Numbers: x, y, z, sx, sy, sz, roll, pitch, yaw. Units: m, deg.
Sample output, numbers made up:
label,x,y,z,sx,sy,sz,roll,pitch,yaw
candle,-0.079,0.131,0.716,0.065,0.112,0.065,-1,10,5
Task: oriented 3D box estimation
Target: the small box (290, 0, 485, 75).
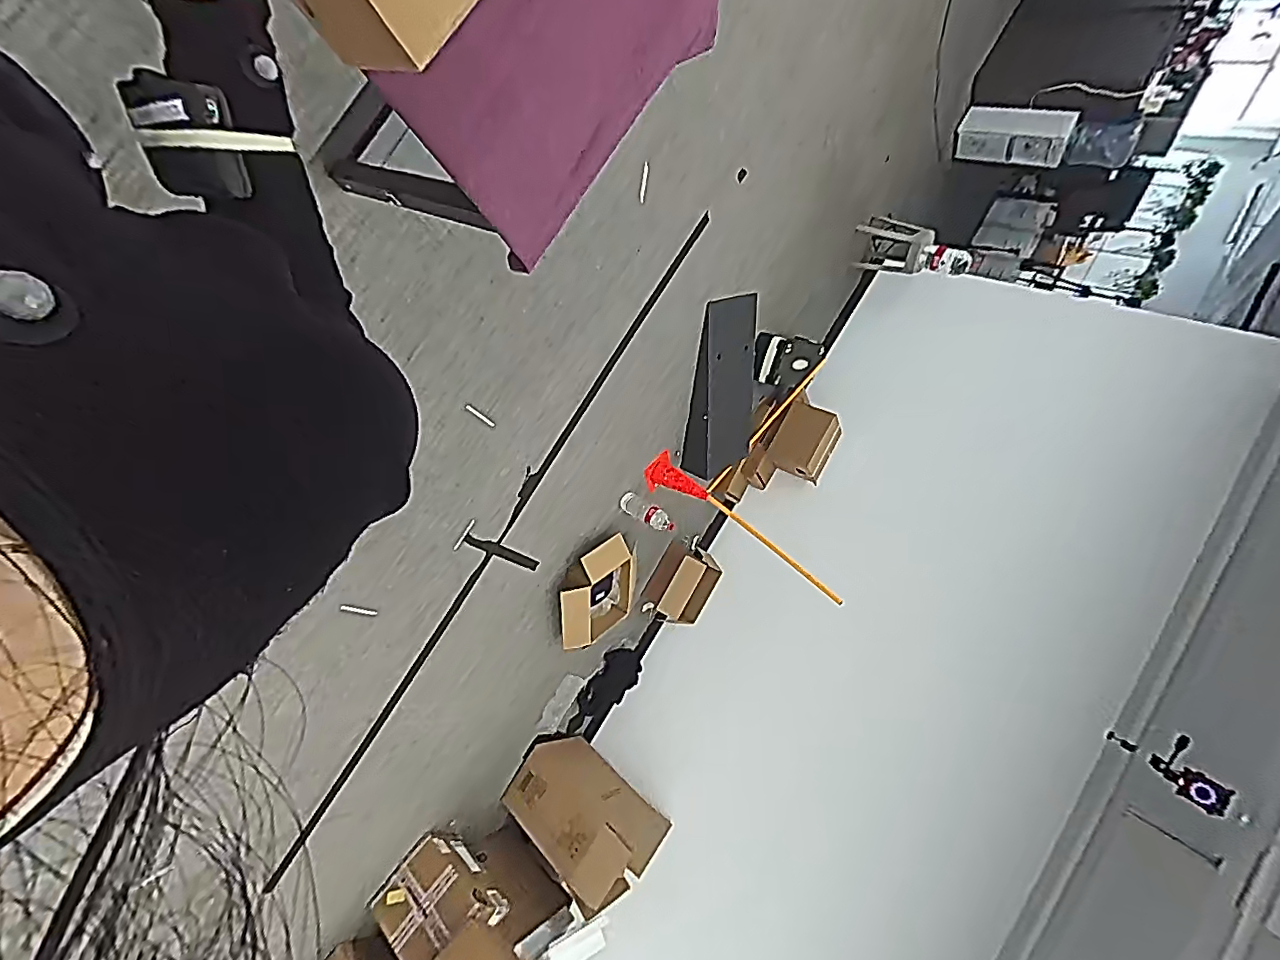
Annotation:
label,x,y,z,sx,sy,sz,roll,pitch,yaw
small box,-0.265,-0.548,0.536,0.179,0.176,0.168,-56,148,-6
